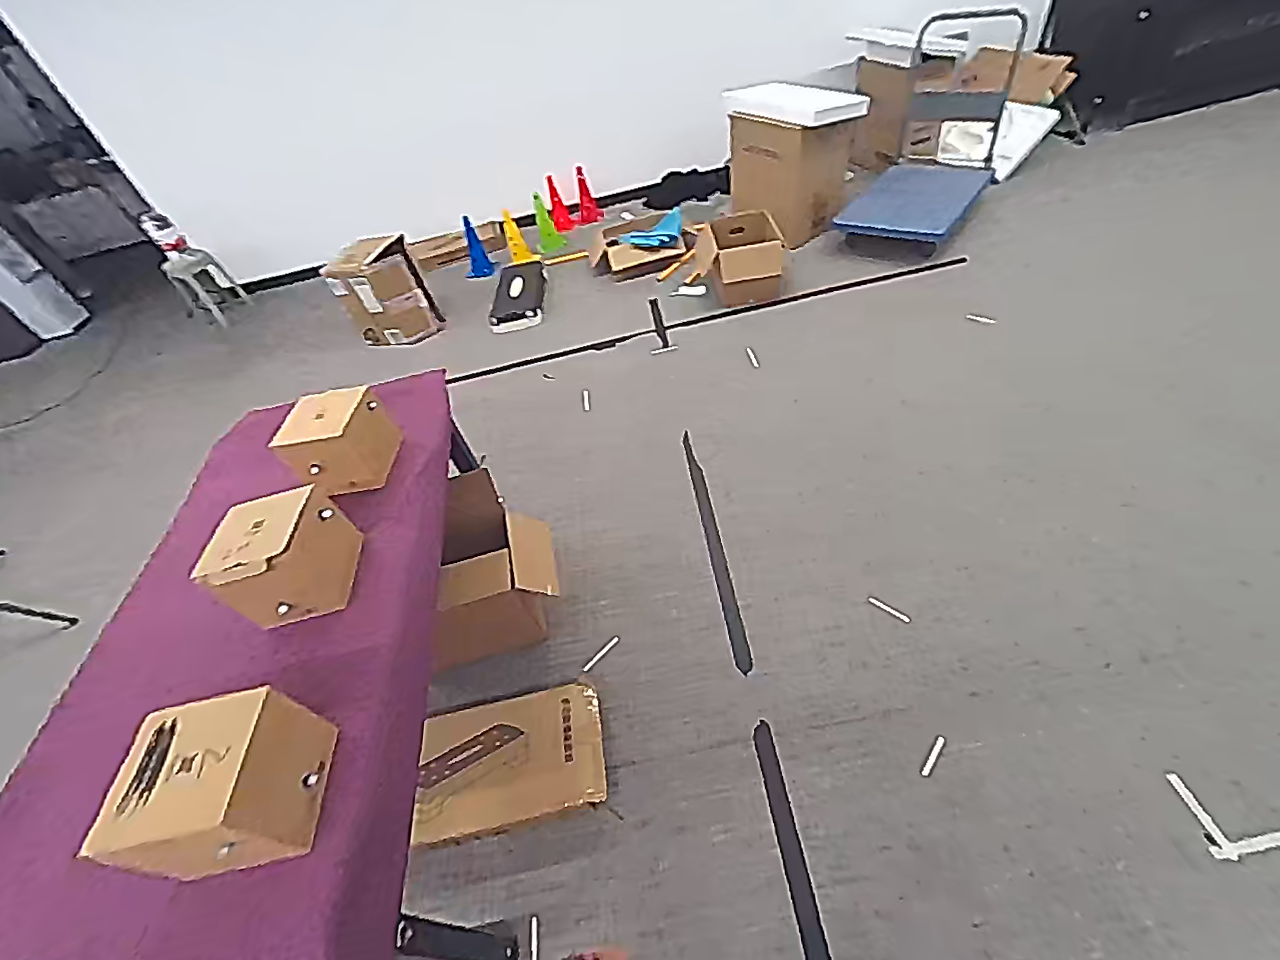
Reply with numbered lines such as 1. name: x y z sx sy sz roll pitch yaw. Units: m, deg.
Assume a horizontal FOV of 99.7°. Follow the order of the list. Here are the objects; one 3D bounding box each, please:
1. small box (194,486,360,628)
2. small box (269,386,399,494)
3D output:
1. small box: -0.649 0.144 0.997 0.168 0.176 0.179 -16 45 3
2. small box: -0.676 -0.082 1.221 0.168 0.176 0.179 -9 45 6
